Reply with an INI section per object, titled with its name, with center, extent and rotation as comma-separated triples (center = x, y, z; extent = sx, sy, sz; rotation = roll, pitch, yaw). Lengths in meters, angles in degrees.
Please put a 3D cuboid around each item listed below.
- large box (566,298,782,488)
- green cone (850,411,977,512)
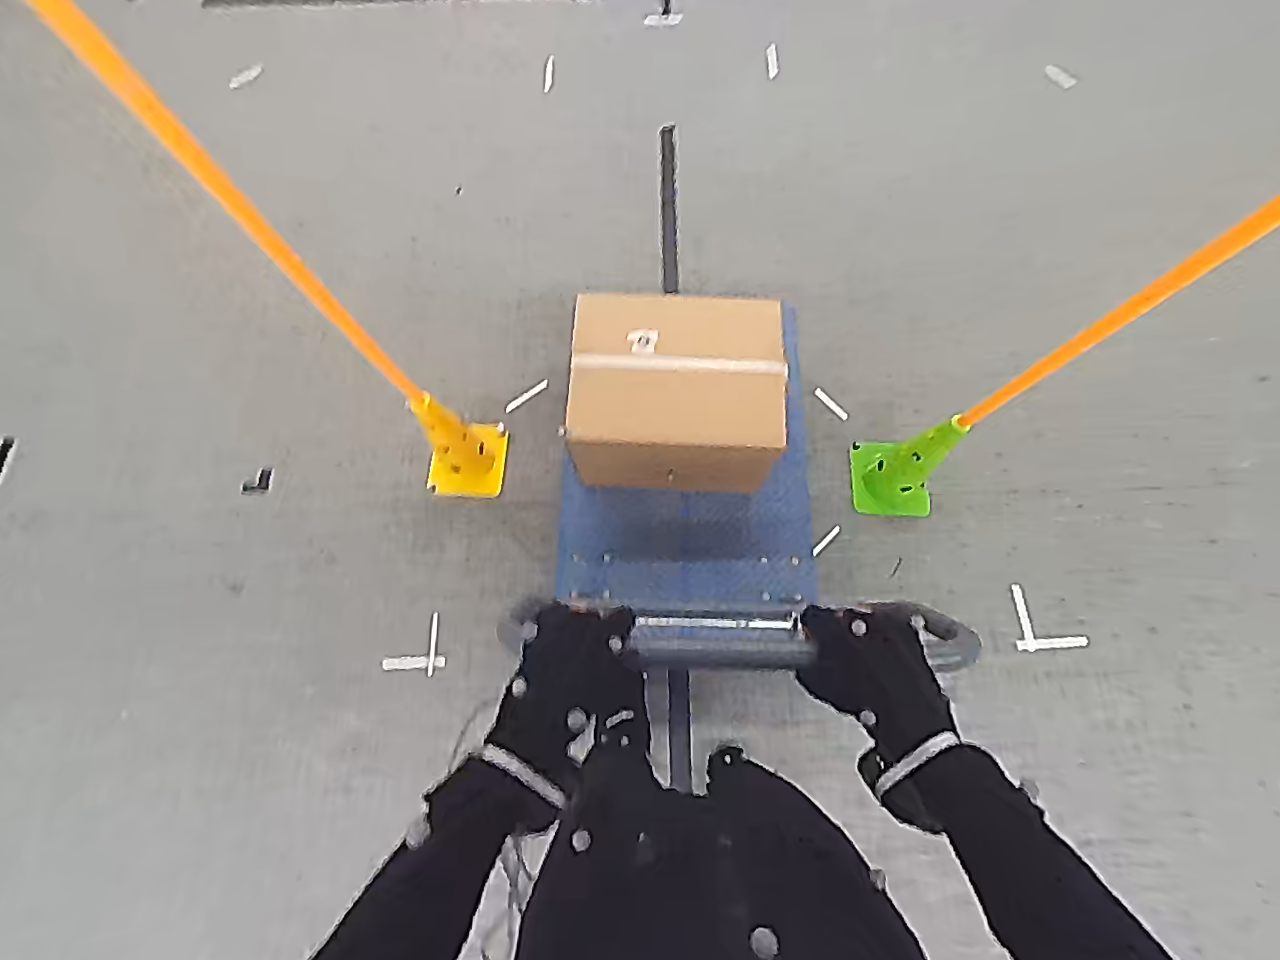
[large box]
center = 0.072, -0.170, 1.172
extent = 0.408, 0.320, 0.320
rotation = 2, 73, 2
[green cone]
center = 0.669, -0.067, 1.283
extent = 0.202, 0.368, 0.200
rotation = 3, 72, 0
